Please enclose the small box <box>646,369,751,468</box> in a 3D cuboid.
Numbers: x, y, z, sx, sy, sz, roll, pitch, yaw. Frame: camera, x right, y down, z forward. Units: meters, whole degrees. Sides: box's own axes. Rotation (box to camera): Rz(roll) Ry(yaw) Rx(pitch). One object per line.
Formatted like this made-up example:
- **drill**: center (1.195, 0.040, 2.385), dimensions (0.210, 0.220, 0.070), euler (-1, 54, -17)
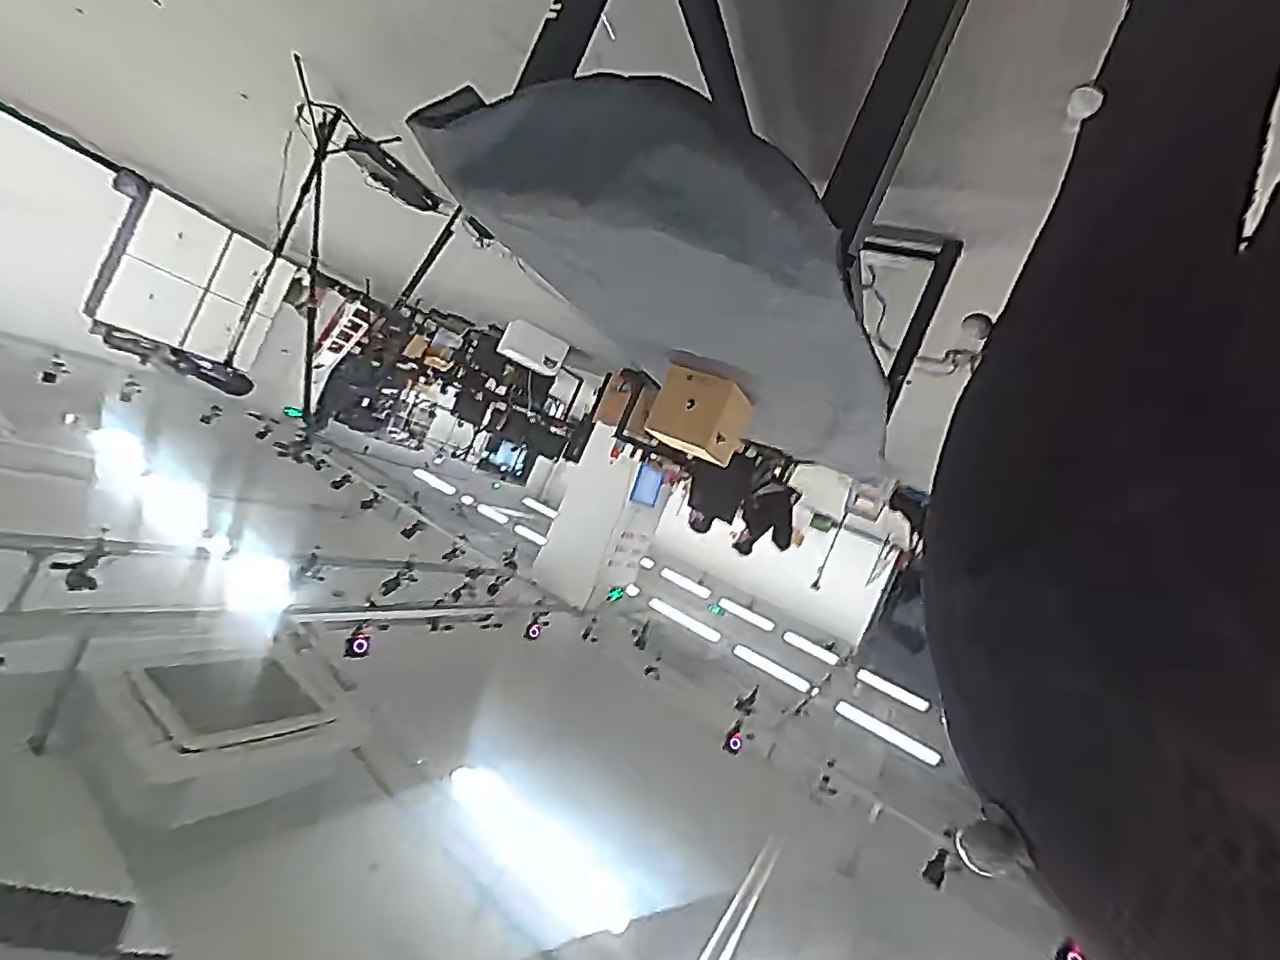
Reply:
- **small box**: center (0.144, -0.149, 1.295), dimensions (0.168, 0.176, 0.179), euler (23, 179, 28)
